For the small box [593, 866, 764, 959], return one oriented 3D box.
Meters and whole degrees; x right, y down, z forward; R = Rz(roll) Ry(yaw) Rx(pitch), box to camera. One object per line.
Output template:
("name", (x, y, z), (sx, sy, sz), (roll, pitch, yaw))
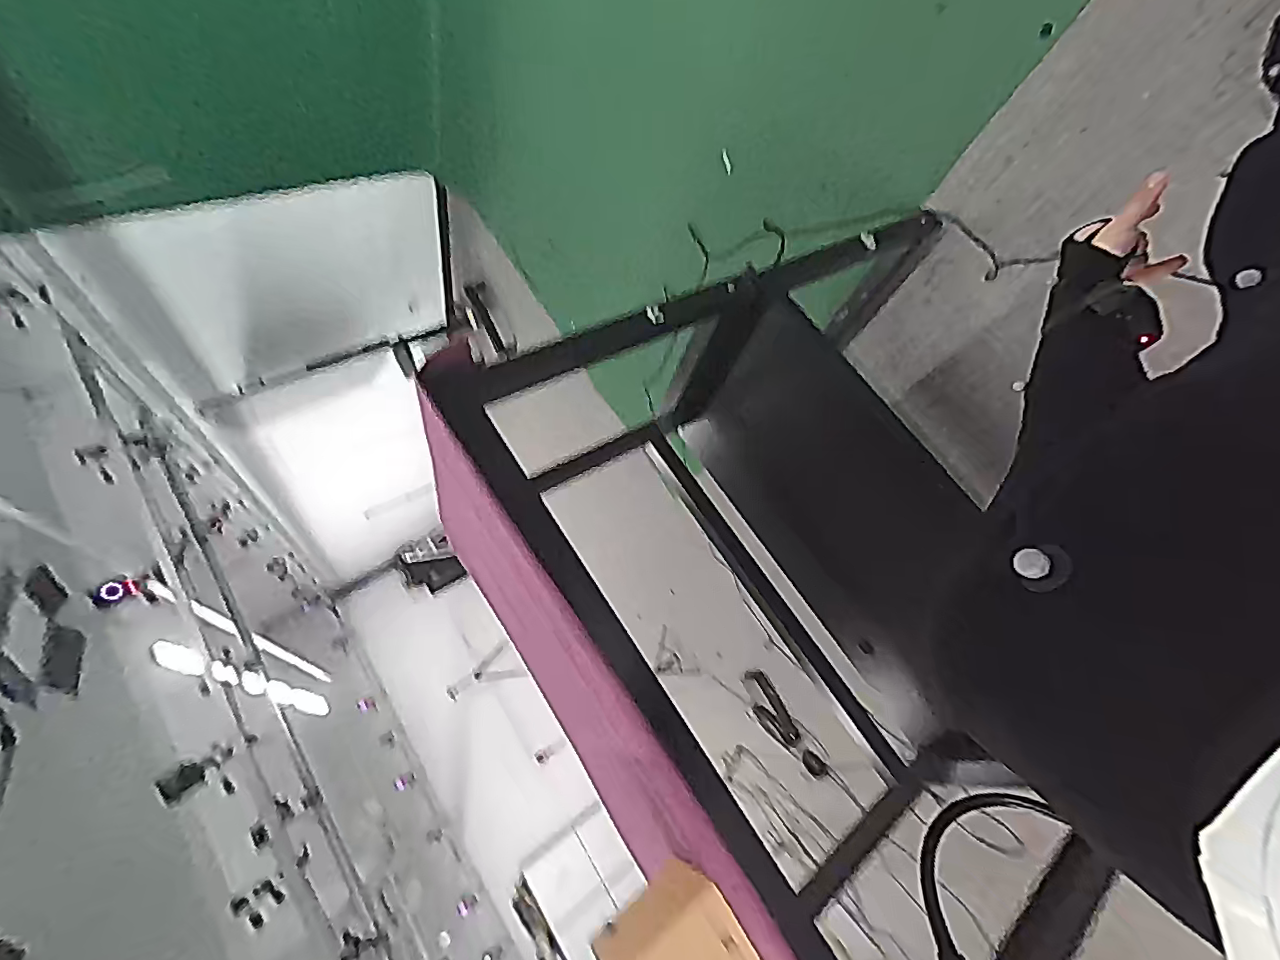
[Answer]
("small box", (0.064, 0.650, 0.706), (0.168, 0.176, 0.179), (55, 154, 15))
